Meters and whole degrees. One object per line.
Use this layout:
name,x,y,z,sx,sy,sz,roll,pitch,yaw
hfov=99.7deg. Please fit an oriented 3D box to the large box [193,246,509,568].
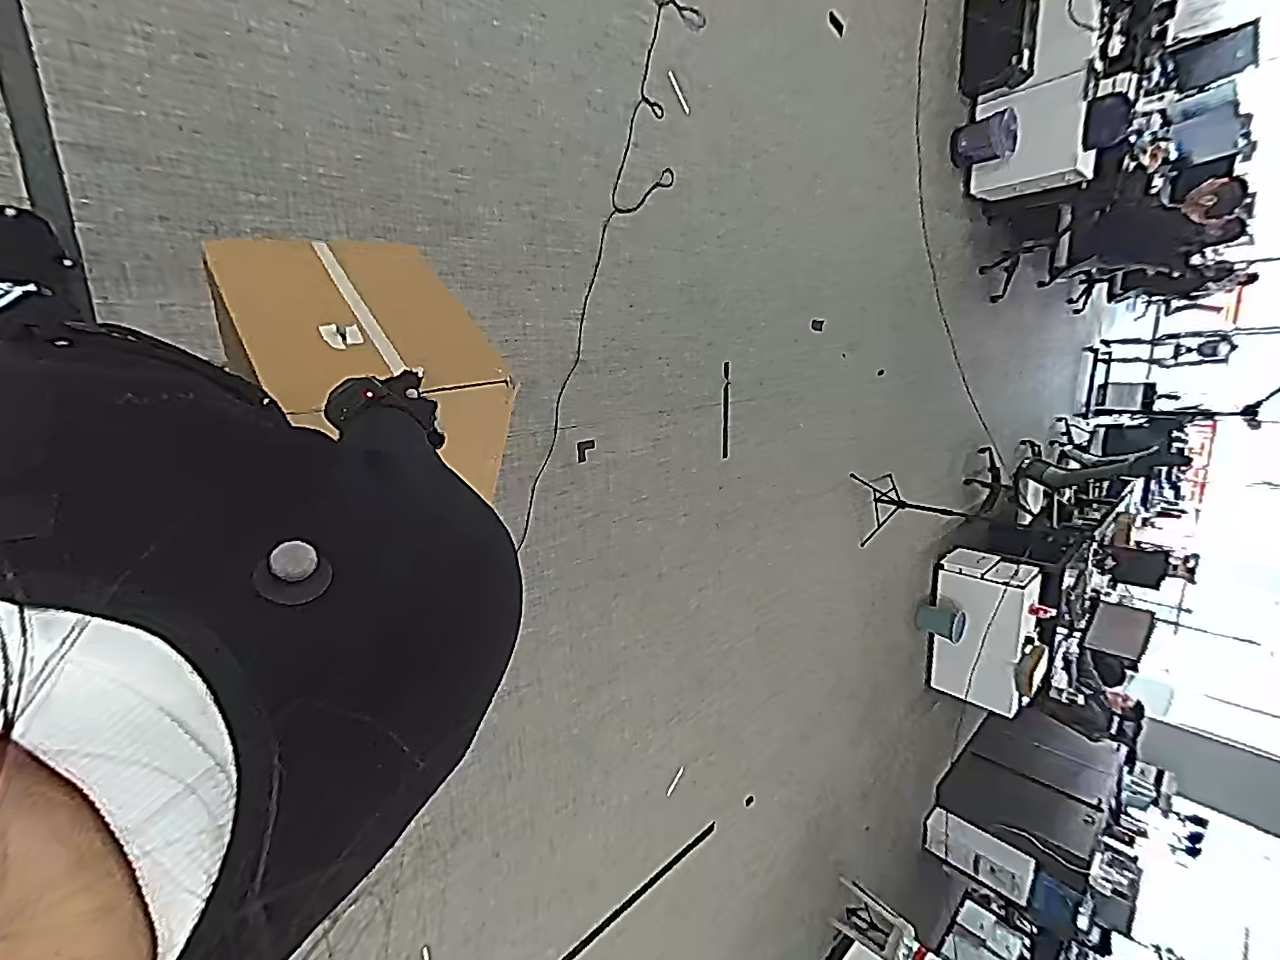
large box,-0.470,-0.135,0.890,0.320,0.408,0.320,-18,147,-37
